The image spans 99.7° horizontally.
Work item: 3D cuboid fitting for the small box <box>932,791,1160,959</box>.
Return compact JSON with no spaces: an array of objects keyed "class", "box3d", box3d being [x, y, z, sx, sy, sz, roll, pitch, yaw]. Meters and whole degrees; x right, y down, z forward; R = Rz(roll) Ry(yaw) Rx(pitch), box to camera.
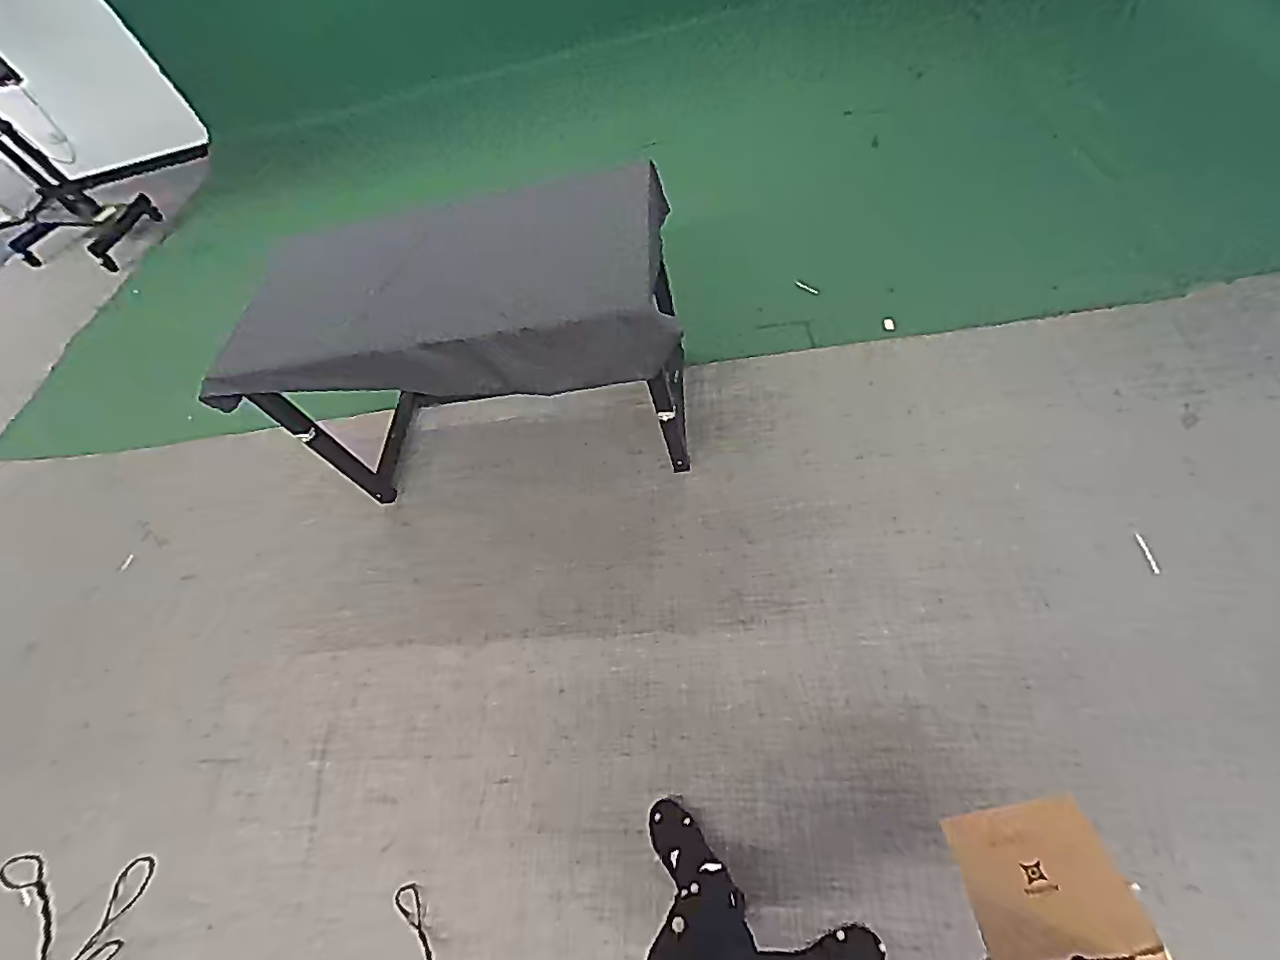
[{"class":"small box","box3d":[0.495,0.528,0.659,0.168,0.176,0.179,-24,19,17]}]
